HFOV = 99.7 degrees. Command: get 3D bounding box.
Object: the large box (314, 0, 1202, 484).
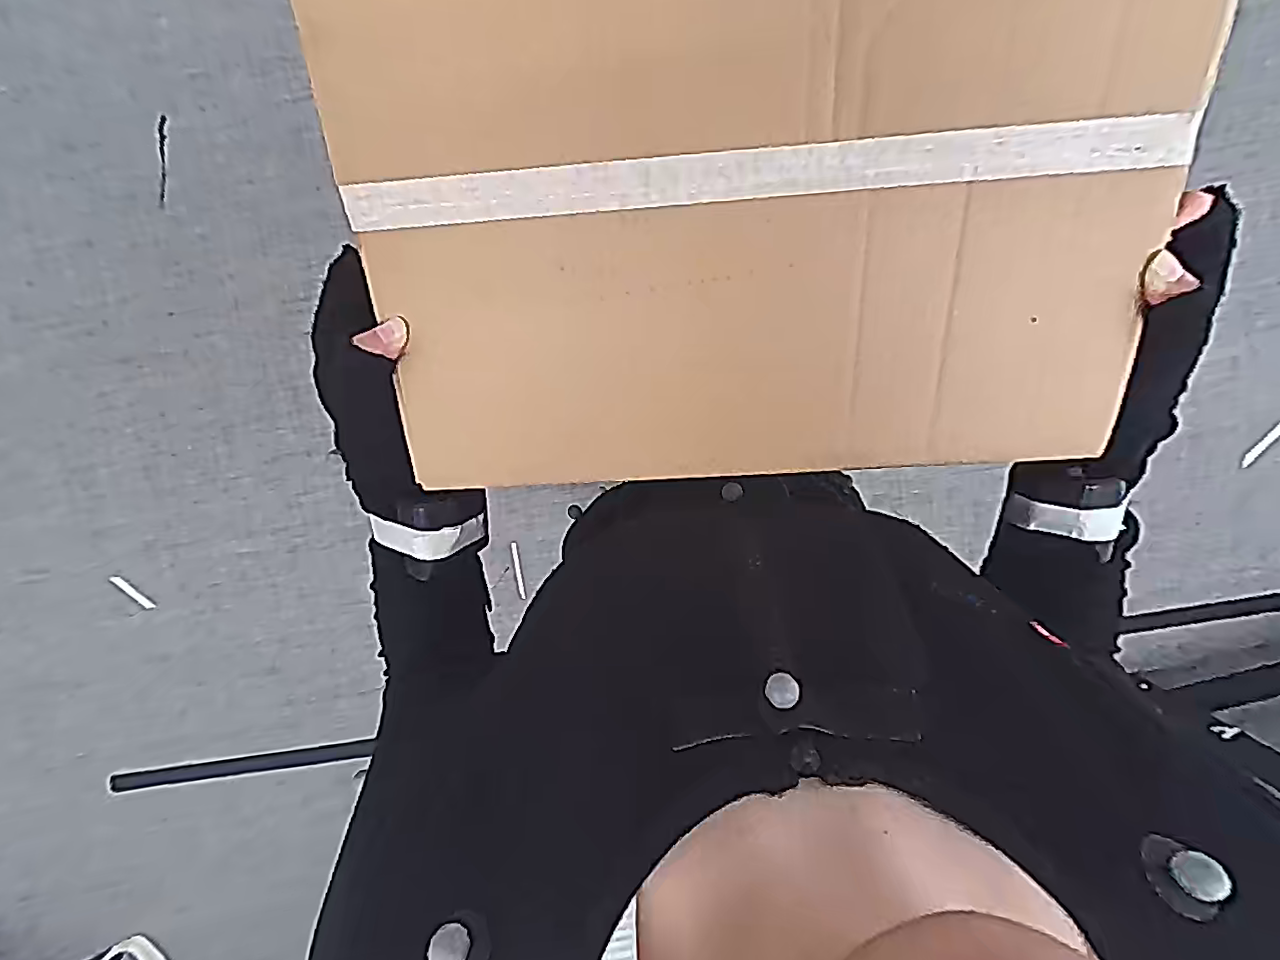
[{"bbox_3d":[0.055,-0.208,0.410,0.408,0.320,0.320,-3,114,3],"label":"large box"}]
